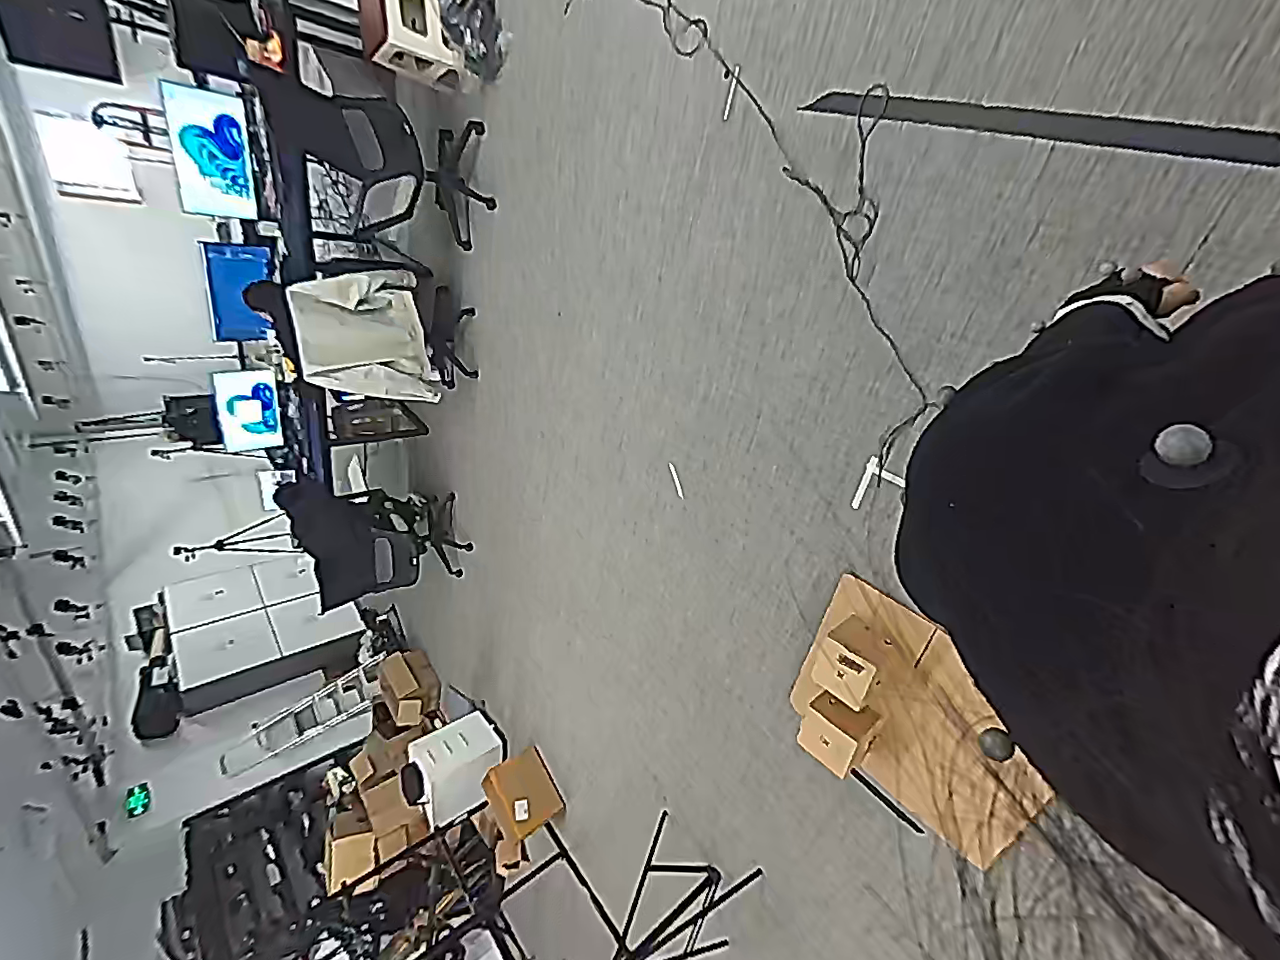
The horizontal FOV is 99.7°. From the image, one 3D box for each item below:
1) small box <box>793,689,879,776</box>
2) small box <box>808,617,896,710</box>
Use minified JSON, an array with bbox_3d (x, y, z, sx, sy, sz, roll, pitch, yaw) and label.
[{"bbox_3d":[0.625,0.787,1.723,0.179,0.176,0.168,30,123,40],"label":"small box"},{"bbox_3d":[0.642,0.545,1.630,0.168,0.176,0.179,32,123,39],"label":"small box"}]
